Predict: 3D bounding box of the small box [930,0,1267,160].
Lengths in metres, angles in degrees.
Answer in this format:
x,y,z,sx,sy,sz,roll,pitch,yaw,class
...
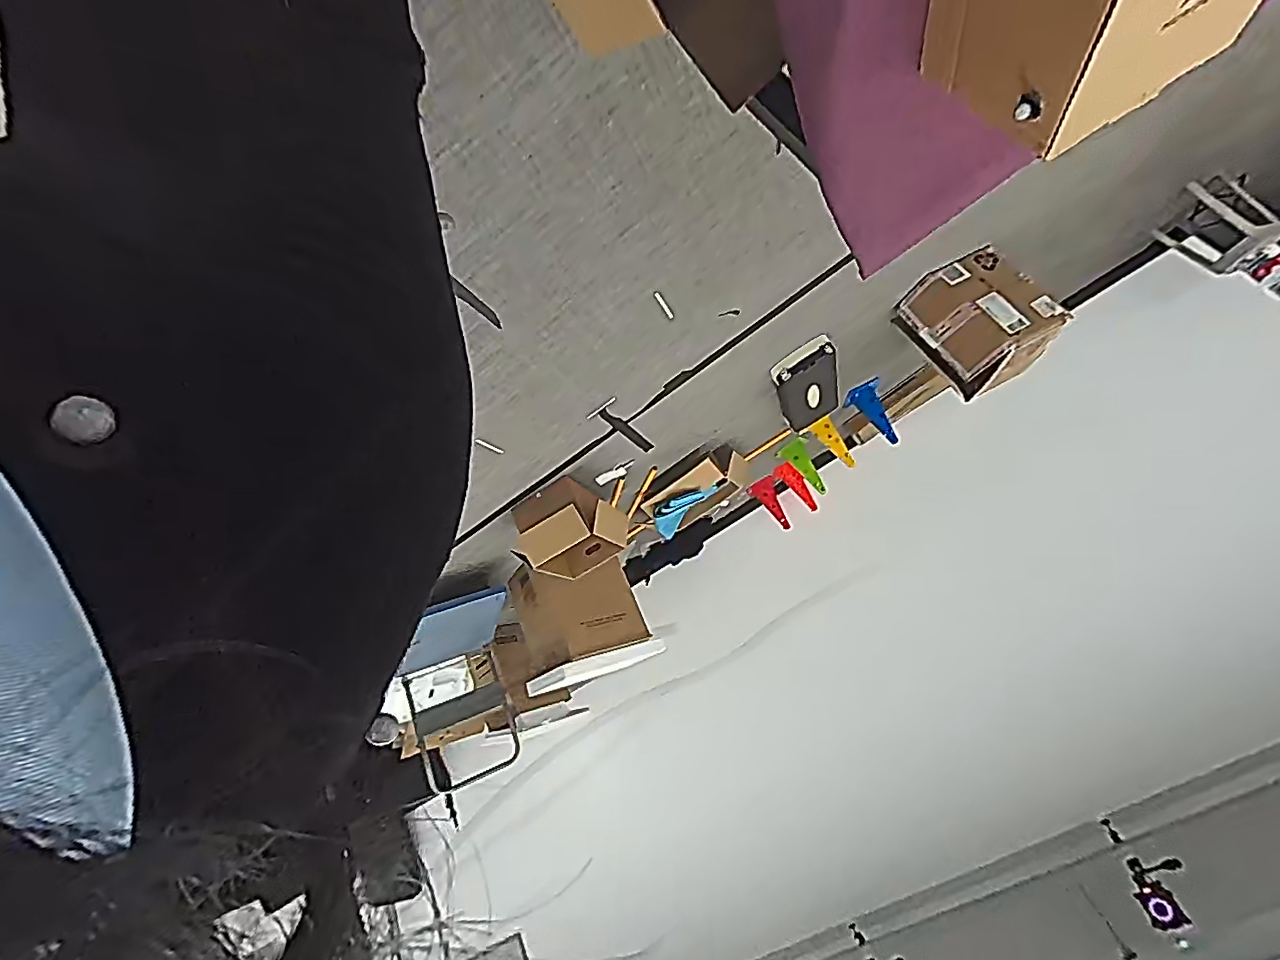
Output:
x,y,z,sx,sy,sz,roll,pitch,yaw,class
0.350,-0.399,0.403,0.168,0.176,0.179,-32,156,8,small box
